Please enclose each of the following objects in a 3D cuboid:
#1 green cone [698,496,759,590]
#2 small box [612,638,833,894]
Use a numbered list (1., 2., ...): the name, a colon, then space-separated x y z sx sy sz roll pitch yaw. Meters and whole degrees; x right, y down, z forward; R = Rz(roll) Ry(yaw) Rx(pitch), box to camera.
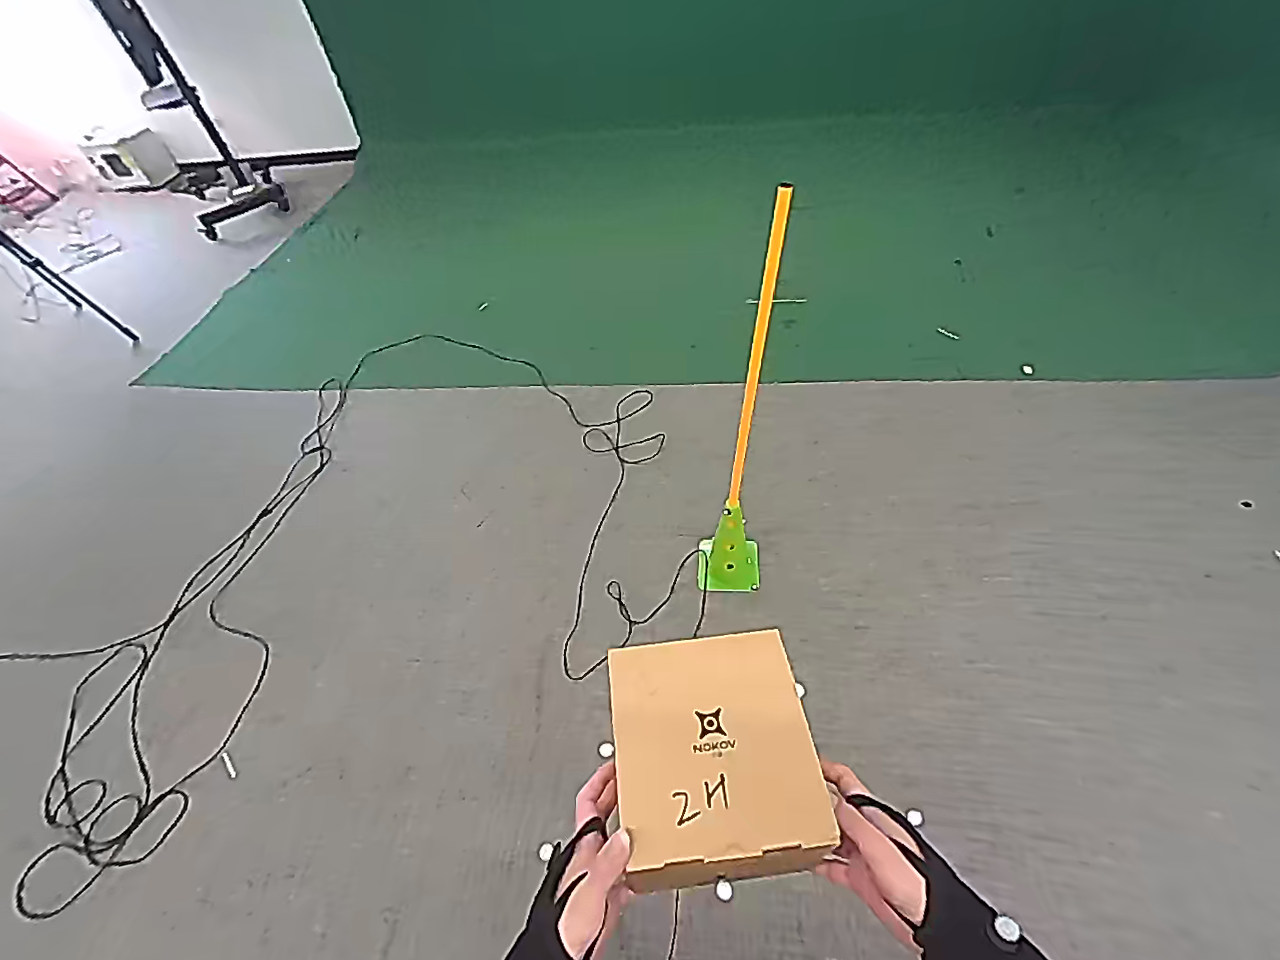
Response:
1. green cone: 0.283 0.174 1.716 0.202 0.368 0.200 0 50 8
2. small box: 0.062 0.275 0.521 0.168 0.176 0.179 -5 48 -1
